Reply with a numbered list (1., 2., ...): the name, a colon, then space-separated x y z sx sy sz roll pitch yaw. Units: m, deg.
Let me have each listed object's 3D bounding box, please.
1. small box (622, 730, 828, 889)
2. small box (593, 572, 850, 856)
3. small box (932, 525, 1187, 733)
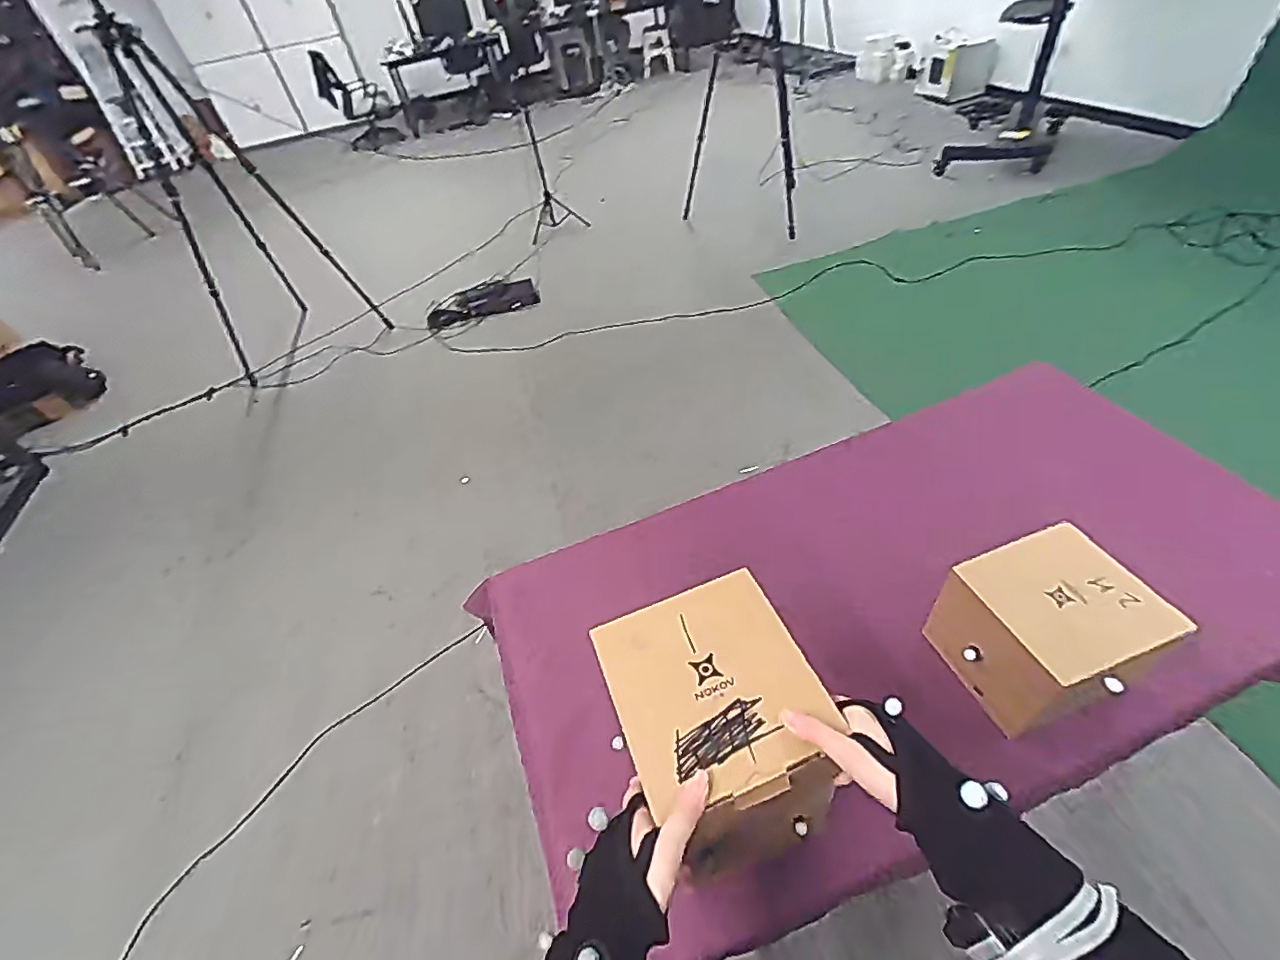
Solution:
1. small box: 0.093 0.341 0.631 0.179 0.176 0.168 -20 46 -9
2. small box: 0.070 0.226 0.515 0.168 0.176 0.179 -20 45 -9
3. small box: 0.504 0.193 0.688 0.179 0.176 0.168 -19 47 -7
